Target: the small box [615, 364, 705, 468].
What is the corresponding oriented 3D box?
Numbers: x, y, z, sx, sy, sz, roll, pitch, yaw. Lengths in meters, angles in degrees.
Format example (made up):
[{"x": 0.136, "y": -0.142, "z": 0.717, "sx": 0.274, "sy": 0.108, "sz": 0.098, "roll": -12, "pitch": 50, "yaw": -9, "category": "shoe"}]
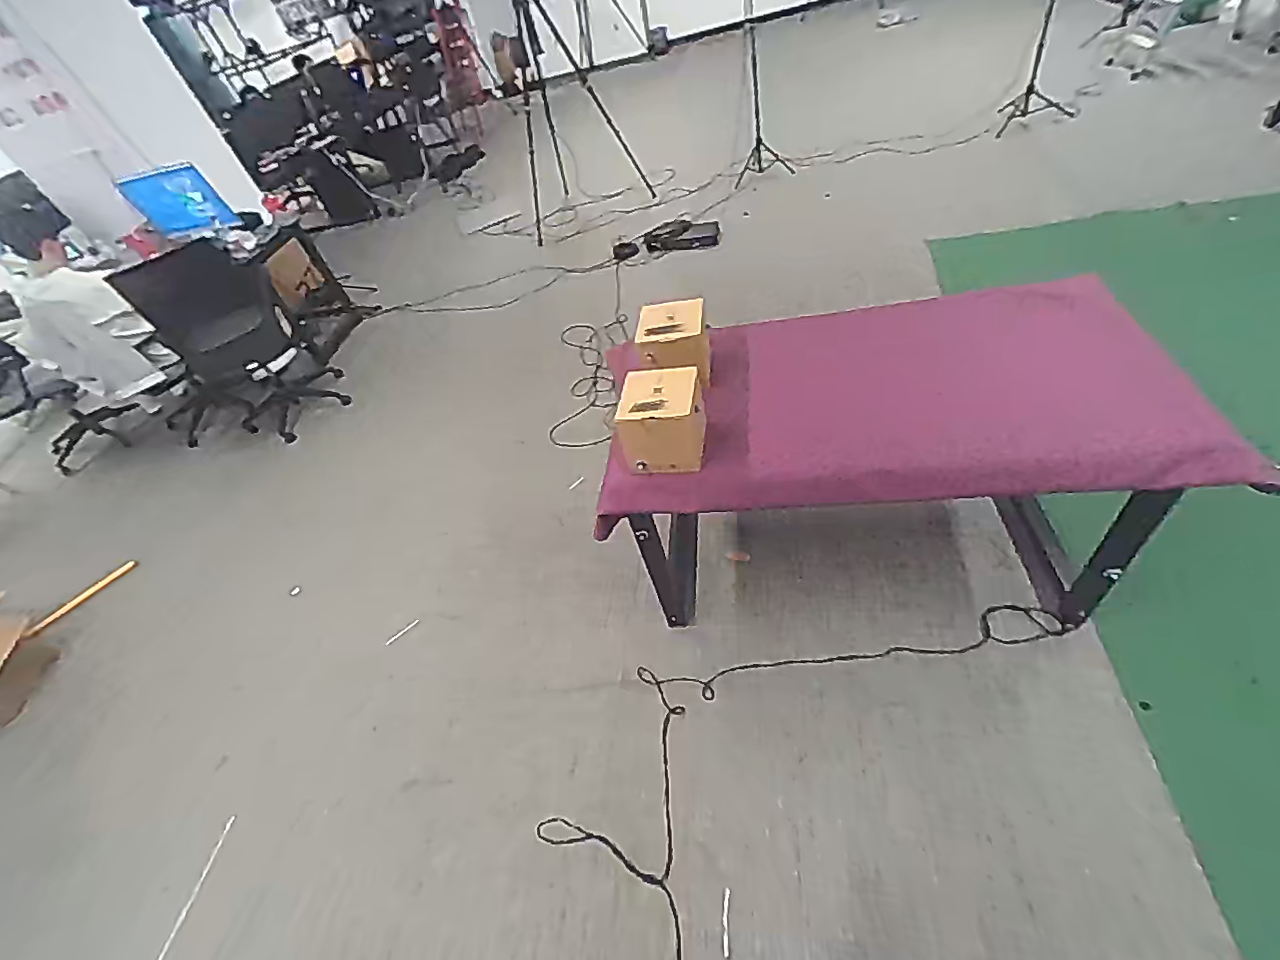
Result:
[{"x": 0.054, "y": -0.141, "z": 1.237, "sx": 0.168, "sy": 0.176, "sz": 0.179, "roll": -1, "pitch": 47, "yaw": 15, "category": "small box"}]
